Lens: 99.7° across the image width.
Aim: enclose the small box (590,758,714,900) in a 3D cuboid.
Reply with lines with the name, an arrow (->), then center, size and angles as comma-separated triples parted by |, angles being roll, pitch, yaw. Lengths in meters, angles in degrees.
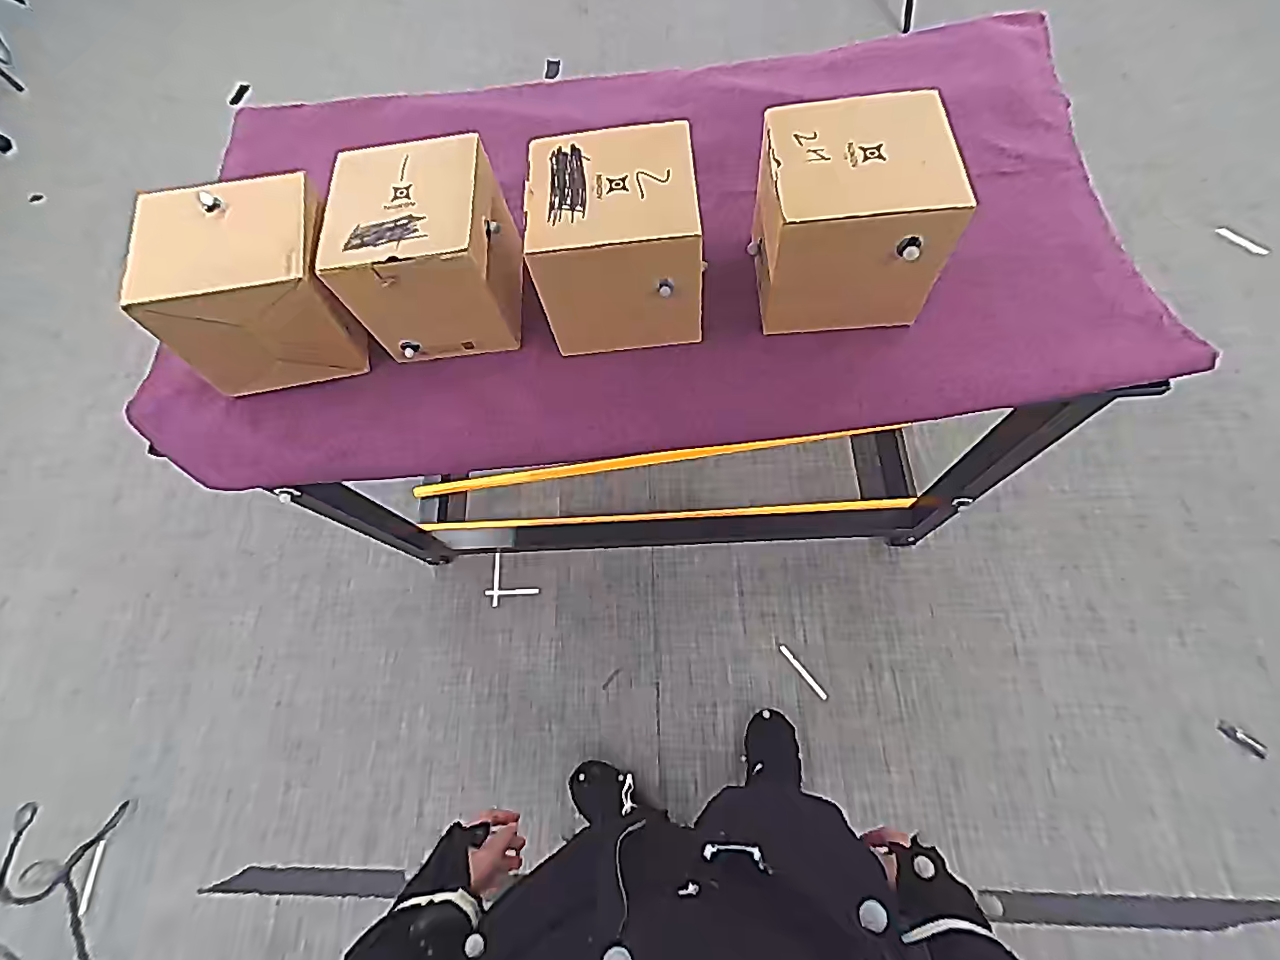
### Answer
small box -> 0.024, 0.657, 1.034 | 0.179, 0.176, 0.168 | -40, 67, -15
